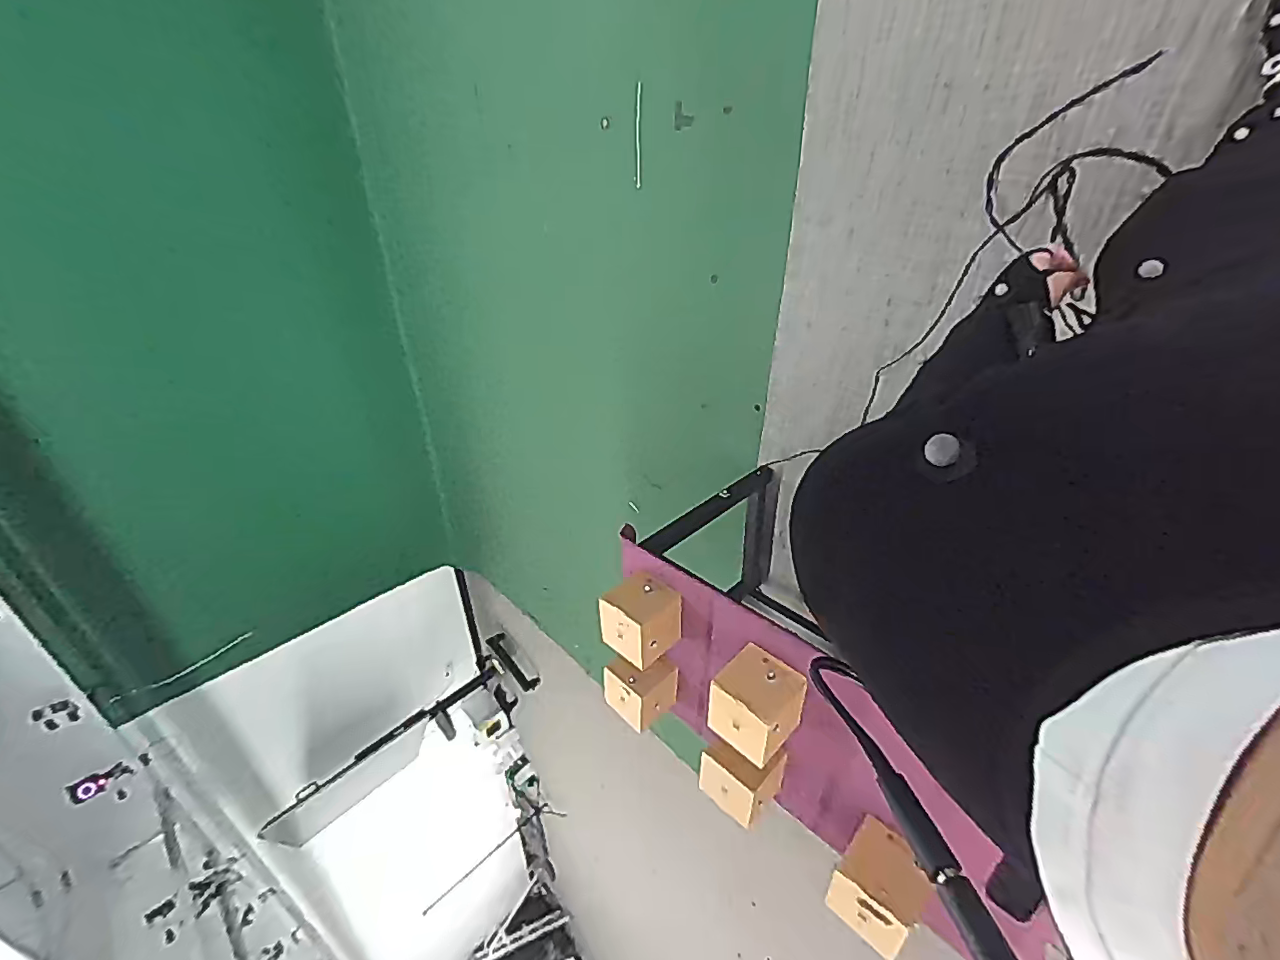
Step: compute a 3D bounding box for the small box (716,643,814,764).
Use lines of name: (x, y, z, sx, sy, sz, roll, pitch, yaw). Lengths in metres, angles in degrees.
small box: (0.306, 0.541, 1.326, 0.168, 0.176, 0.179, 27, 132, 39)

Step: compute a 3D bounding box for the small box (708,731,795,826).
small box: (0.307, 0.788, 1.484, 0.168, 0.176, 0.179, 27, 131, 37)

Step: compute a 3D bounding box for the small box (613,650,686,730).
small box: (0.032, 0.643, 1.722, 0.168, 0.176, 0.179, 28, 132, 37)

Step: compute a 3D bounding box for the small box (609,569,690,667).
small box: (0.029, 0.393, 1.562, 0.168, 0.176, 0.179, 25, 130, 38)

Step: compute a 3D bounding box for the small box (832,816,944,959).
small box: (0.572, 0.927, 1.244, 0.168, 0.176, 0.179, 27, 131, 39)
